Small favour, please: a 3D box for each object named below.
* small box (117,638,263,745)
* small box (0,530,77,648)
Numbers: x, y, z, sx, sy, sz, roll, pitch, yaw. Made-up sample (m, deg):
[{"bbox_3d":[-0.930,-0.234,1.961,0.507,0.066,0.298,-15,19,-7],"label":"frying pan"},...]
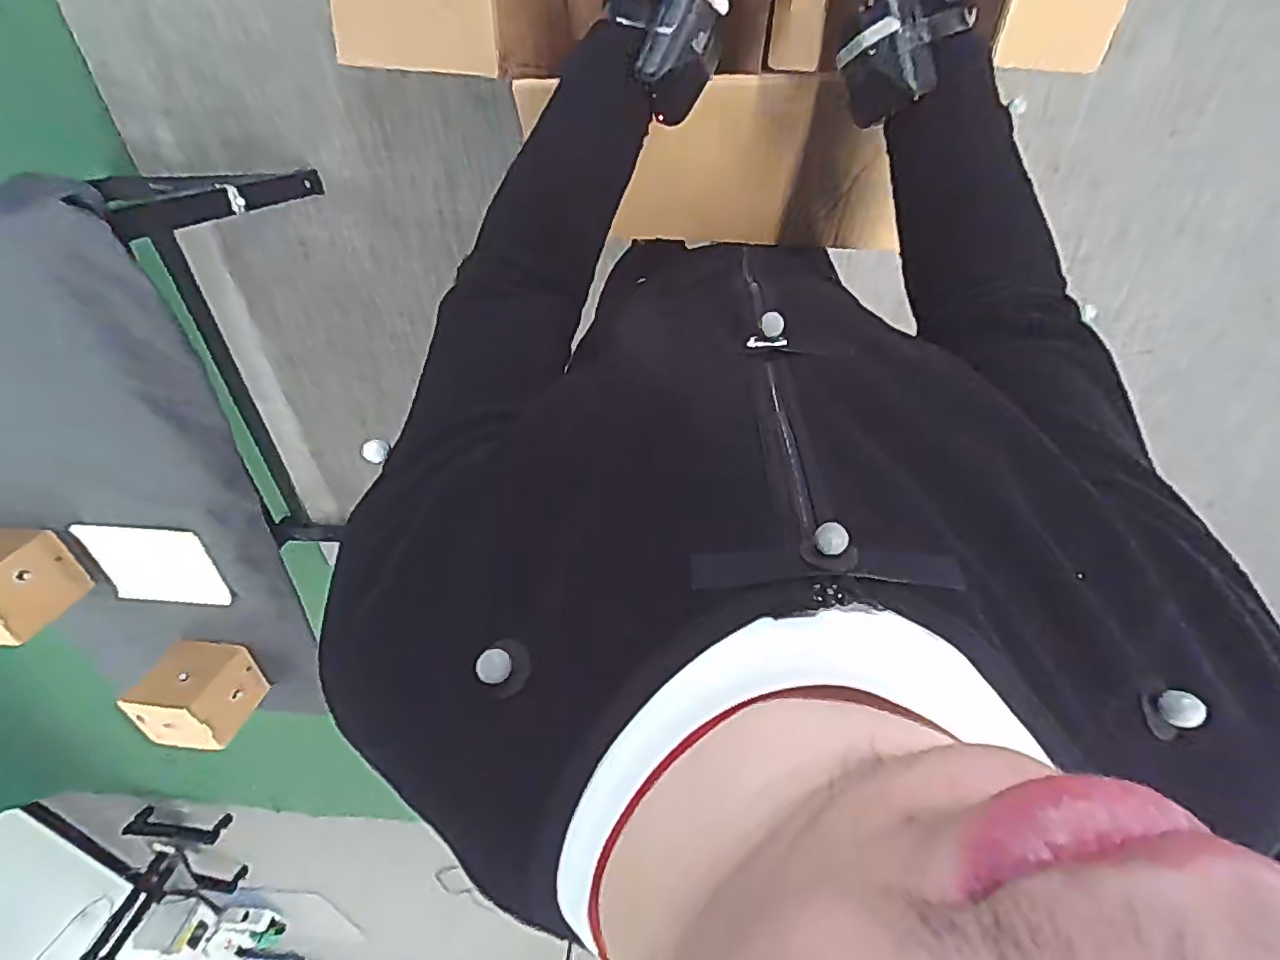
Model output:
[{"bbox_3d":[-1.025,0.488,1.258,0.179,0.176,0.168,2,124,4],"label":"small box"},{"bbox_3d":[-1.294,0.209,1.073,0.179,0.176,0.168,3,124,4],"label":"small box"}]
